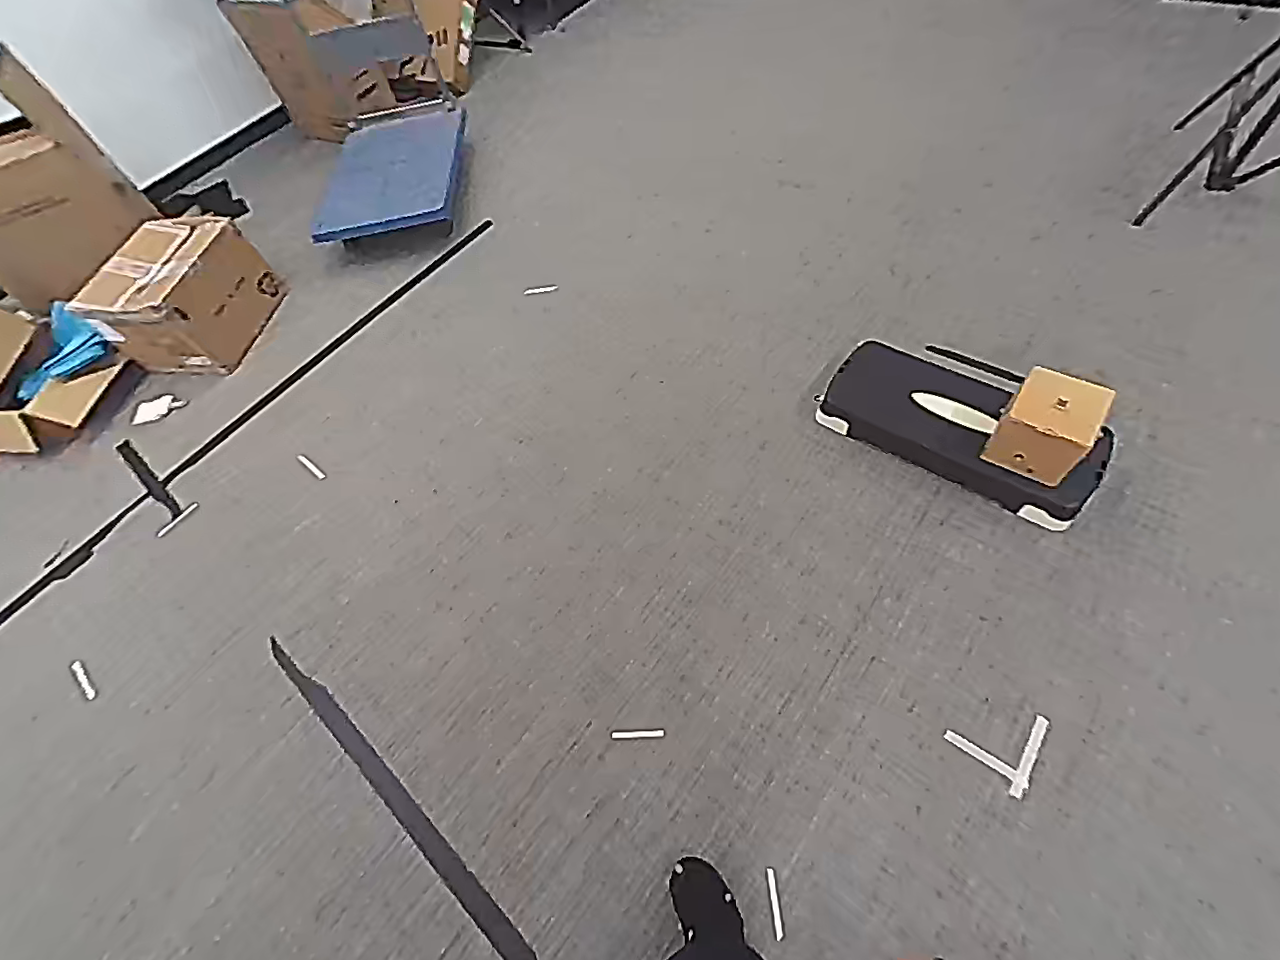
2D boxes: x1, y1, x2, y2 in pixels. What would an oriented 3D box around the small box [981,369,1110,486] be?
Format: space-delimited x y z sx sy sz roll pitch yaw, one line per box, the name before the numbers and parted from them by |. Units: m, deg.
small box | 0.934 -0.119 1.260 0.168 0.176 0.179 29 68 24
